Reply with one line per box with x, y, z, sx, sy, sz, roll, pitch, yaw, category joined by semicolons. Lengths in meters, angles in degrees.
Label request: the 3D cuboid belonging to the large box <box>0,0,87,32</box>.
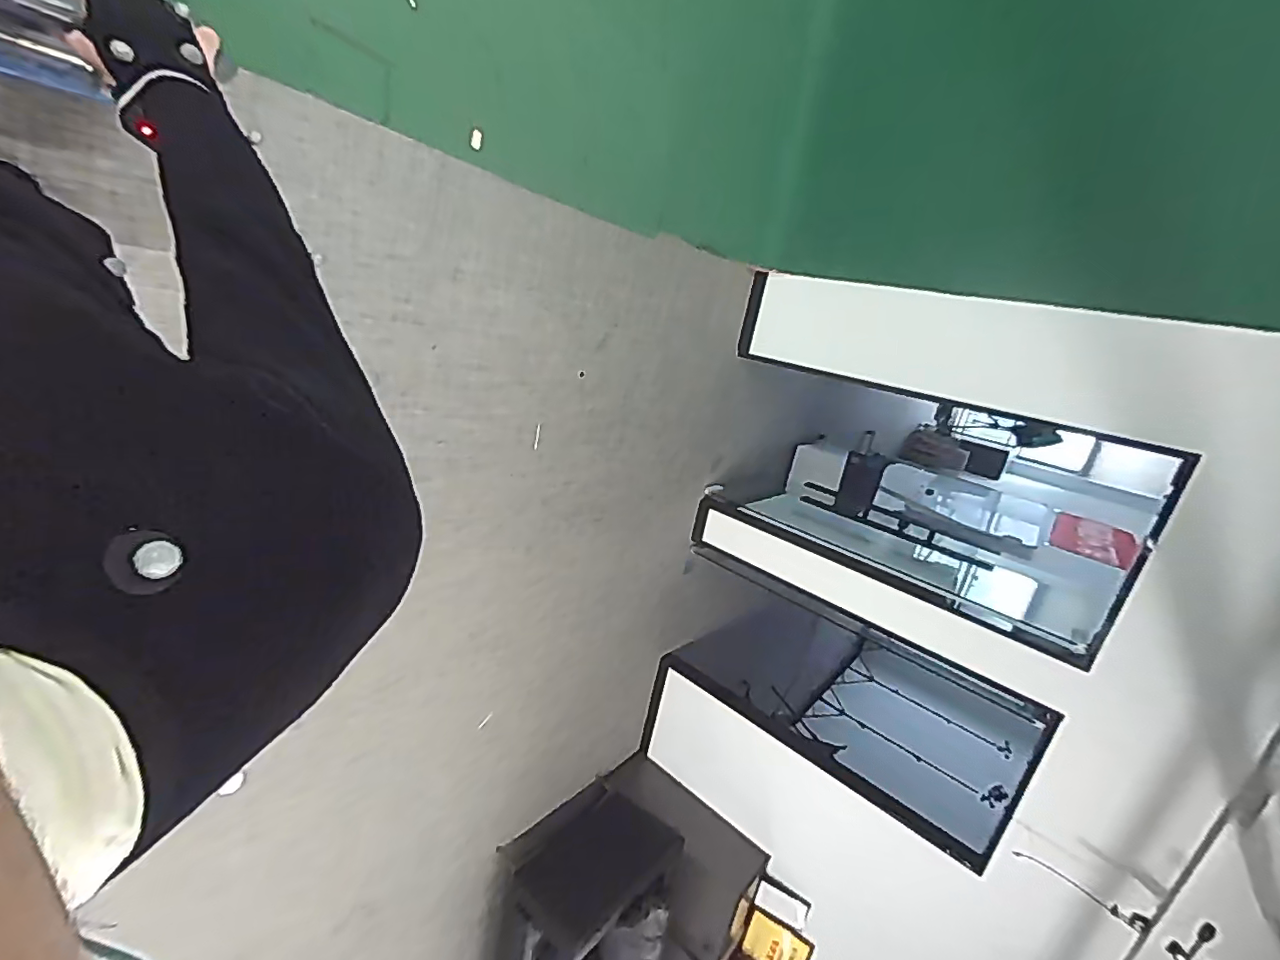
-0.893;-0.854;0.630;0.320;0.320;0.408;-9;115;-51;large box
